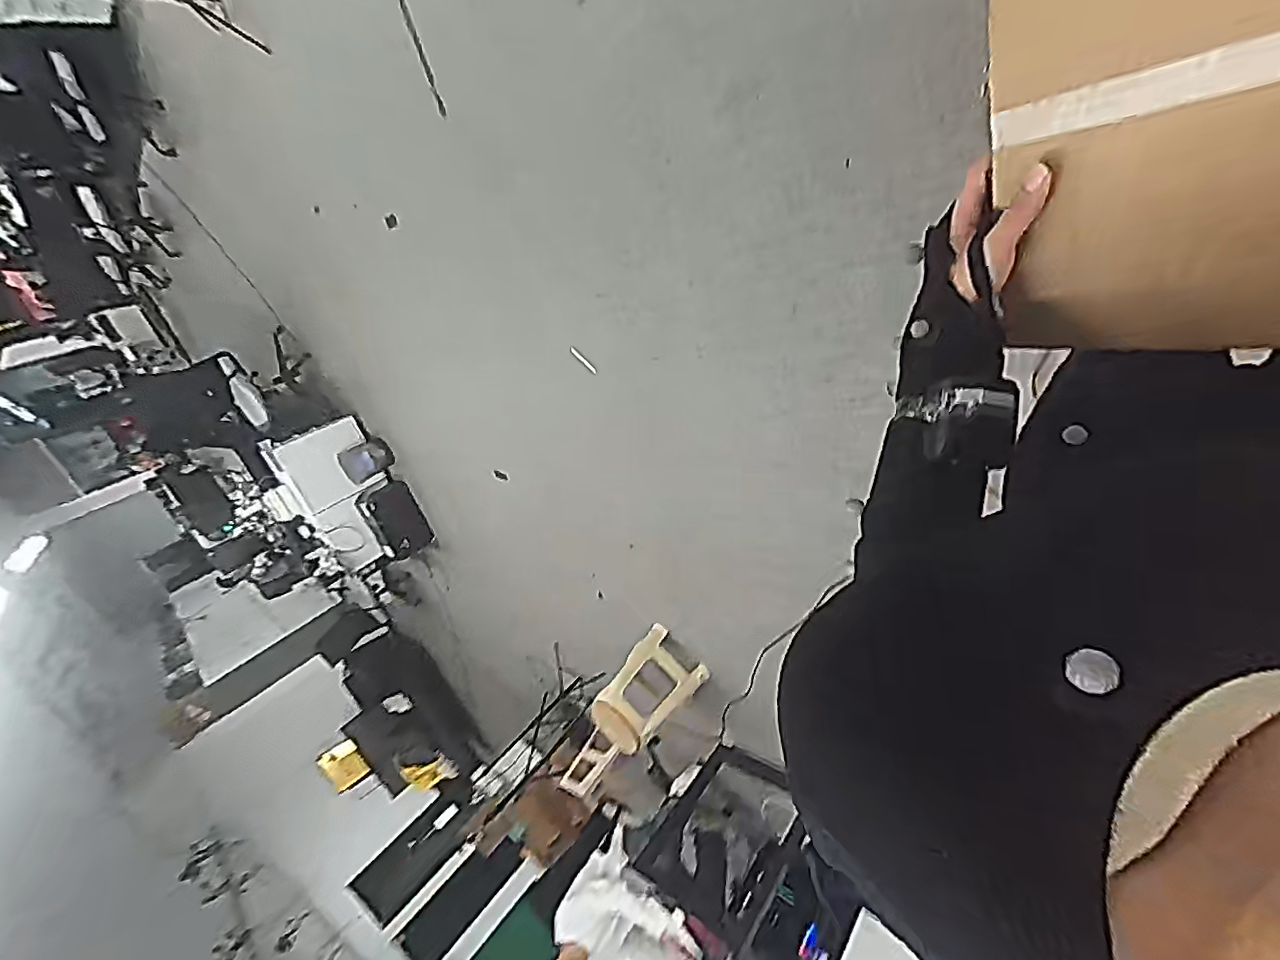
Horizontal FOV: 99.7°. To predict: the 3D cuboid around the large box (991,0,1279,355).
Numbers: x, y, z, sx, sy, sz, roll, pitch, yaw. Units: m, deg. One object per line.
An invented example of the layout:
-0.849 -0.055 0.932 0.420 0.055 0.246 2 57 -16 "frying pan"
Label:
0.463 -0.275 0.280 0.408 0.320 0.320 14 134 48 "large box"
